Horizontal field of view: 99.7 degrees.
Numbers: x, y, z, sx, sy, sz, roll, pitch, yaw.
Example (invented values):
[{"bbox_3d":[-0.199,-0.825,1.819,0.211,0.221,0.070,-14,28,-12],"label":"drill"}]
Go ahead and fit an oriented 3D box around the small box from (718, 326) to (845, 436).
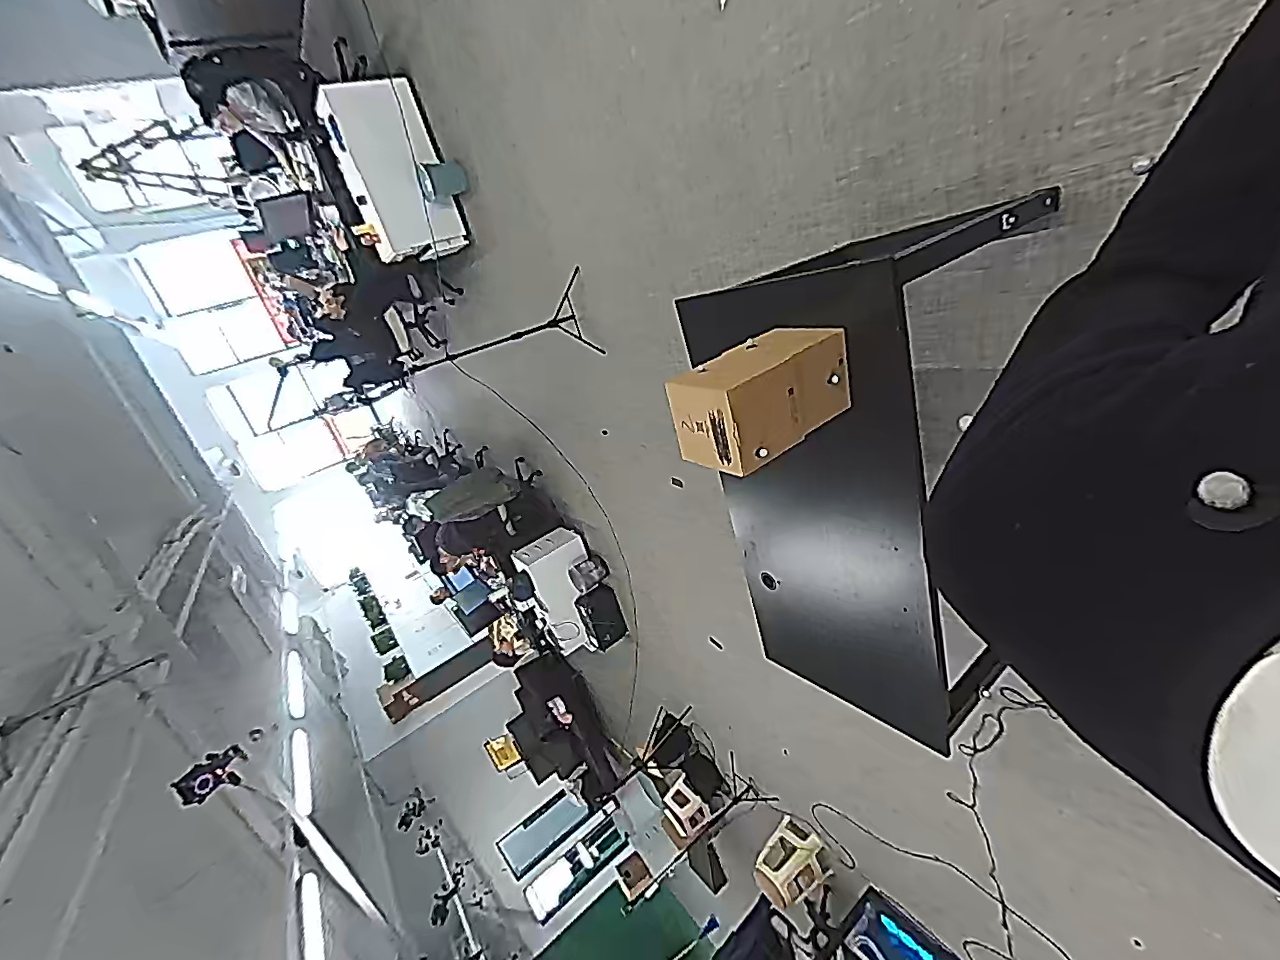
[{"bbox_3d":[0.289,-0.209,1.105,0.179,0.176,0.168,22,135,52],"label":"small box"}]
